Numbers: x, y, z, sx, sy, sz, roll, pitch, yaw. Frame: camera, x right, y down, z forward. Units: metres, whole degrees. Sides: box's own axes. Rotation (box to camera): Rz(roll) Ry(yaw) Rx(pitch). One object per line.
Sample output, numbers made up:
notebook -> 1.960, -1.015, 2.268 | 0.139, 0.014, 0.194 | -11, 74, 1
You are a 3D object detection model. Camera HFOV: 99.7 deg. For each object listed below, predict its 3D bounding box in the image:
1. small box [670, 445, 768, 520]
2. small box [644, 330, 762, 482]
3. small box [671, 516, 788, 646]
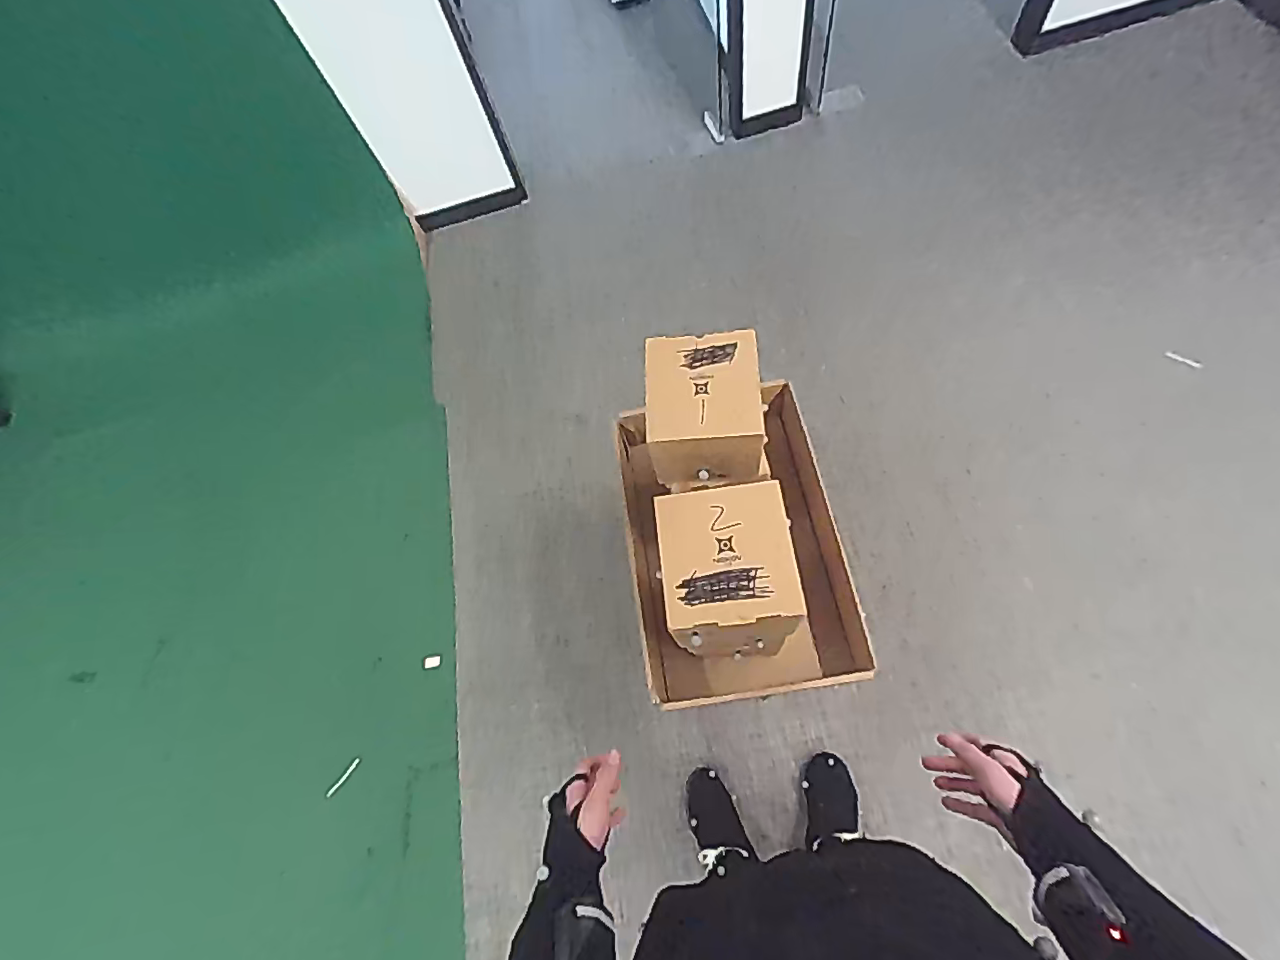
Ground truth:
small box -> 0.130, -0.044, 0.998 | 0.168, 0.176, 0.179 | -12, 67, 4
small box -> 0.099, -0.110, 0.851 | 0.168, 0.176, 0.179 | -3, 68, 9
small box -> 0.146, 0.176, 0.894 | 0.168, 0.176, 0.179 | -6, 64, 7
